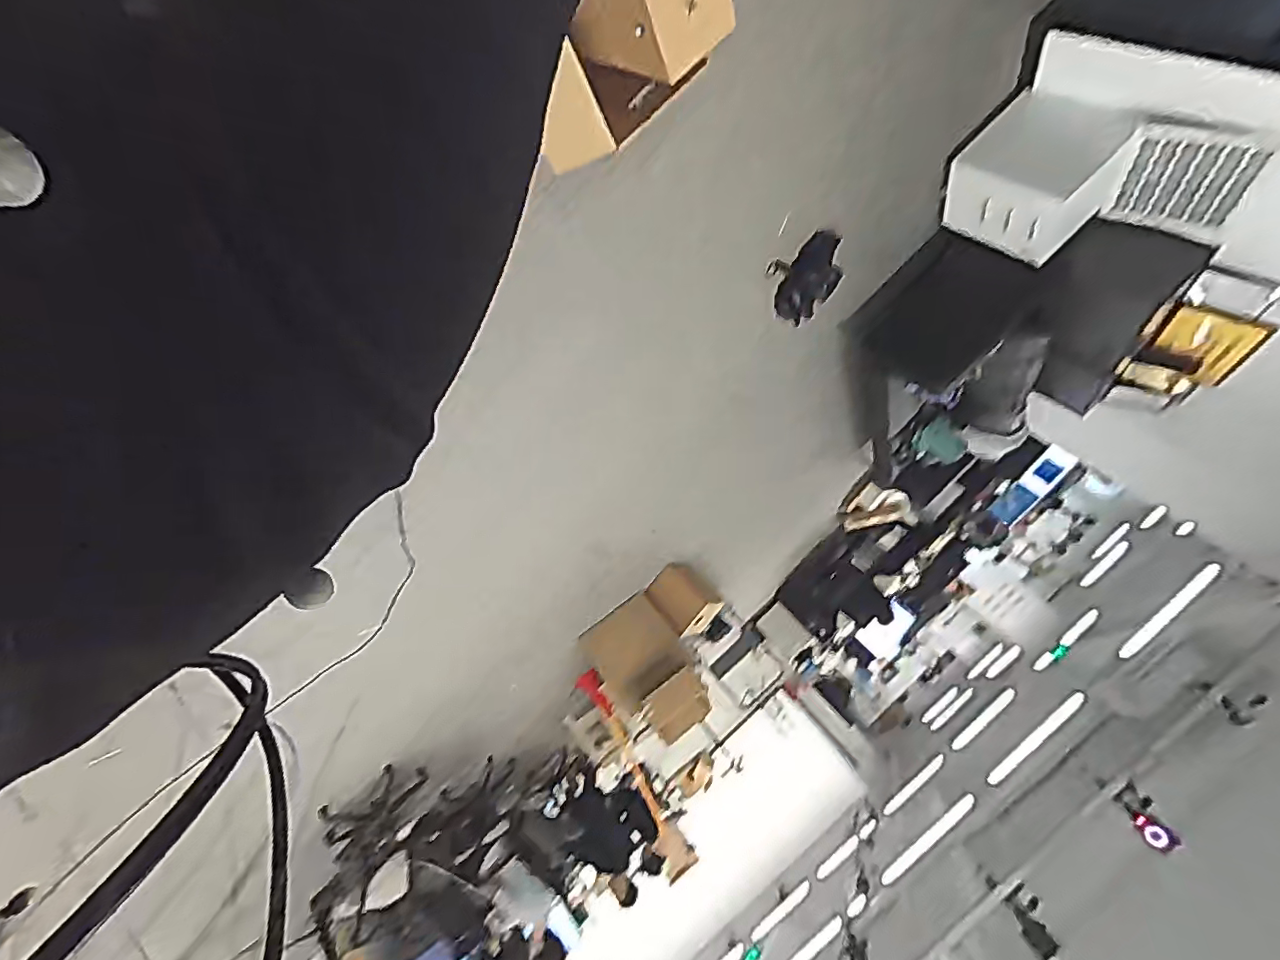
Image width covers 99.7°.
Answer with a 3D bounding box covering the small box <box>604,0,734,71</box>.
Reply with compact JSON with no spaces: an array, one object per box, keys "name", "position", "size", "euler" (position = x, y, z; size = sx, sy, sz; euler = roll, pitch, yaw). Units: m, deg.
[{"name":"small box","position":[0.037,-0.890,0.969],"size":[0.168,0.176,0.179],"euler":[-44,148,1]}]
